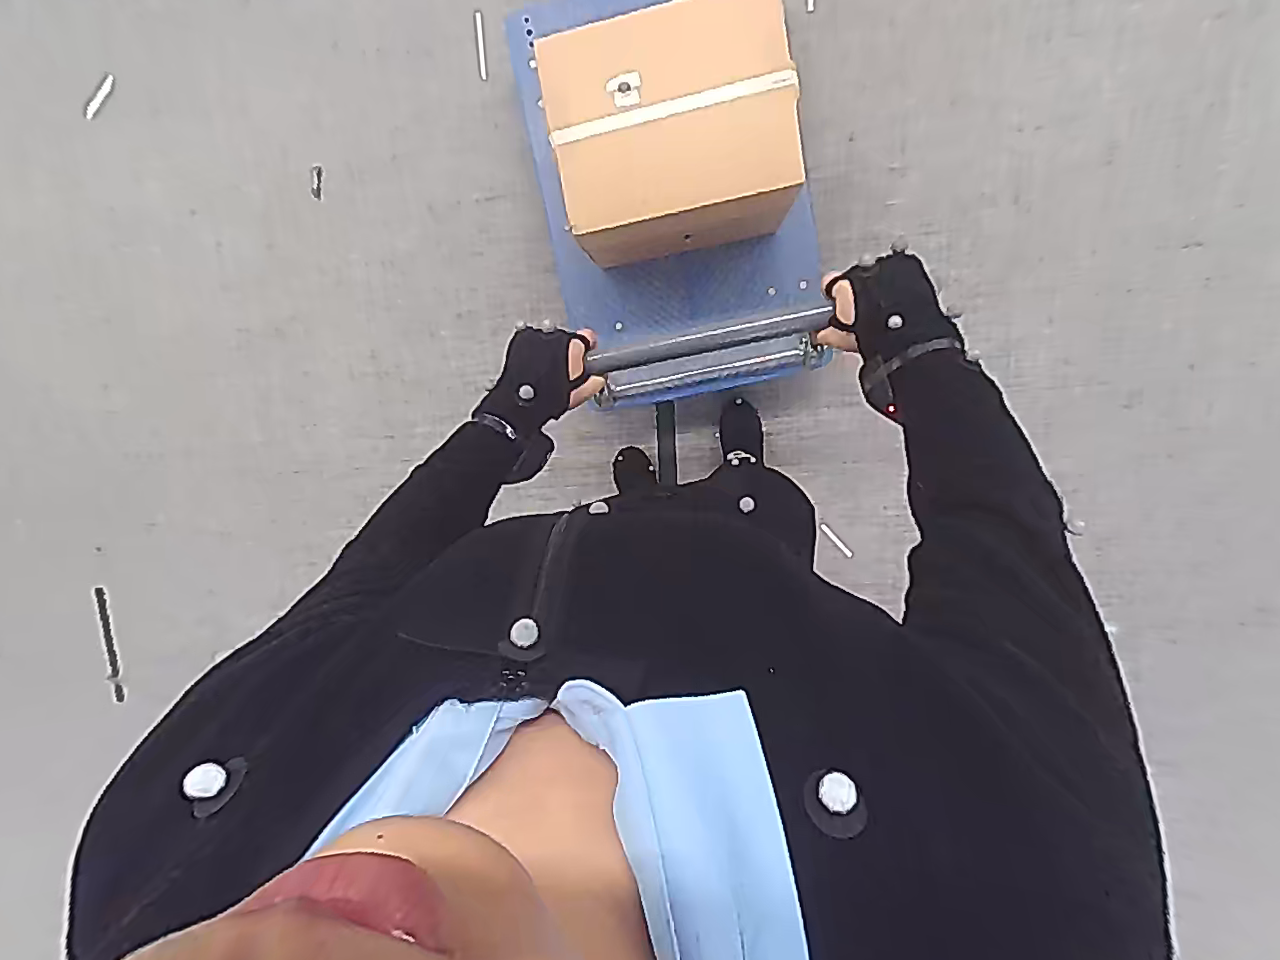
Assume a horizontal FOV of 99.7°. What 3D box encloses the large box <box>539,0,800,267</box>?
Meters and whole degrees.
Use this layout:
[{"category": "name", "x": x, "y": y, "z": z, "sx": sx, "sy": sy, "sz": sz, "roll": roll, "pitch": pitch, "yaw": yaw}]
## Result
[{"category": "large box", "x": 0.066, "y": -0.643, "z": 1.061, "sx": 0.408, "sy": 0.320, "sz": 0.320, "roll": -10, "pitch": 99, "yaw": 8}]
